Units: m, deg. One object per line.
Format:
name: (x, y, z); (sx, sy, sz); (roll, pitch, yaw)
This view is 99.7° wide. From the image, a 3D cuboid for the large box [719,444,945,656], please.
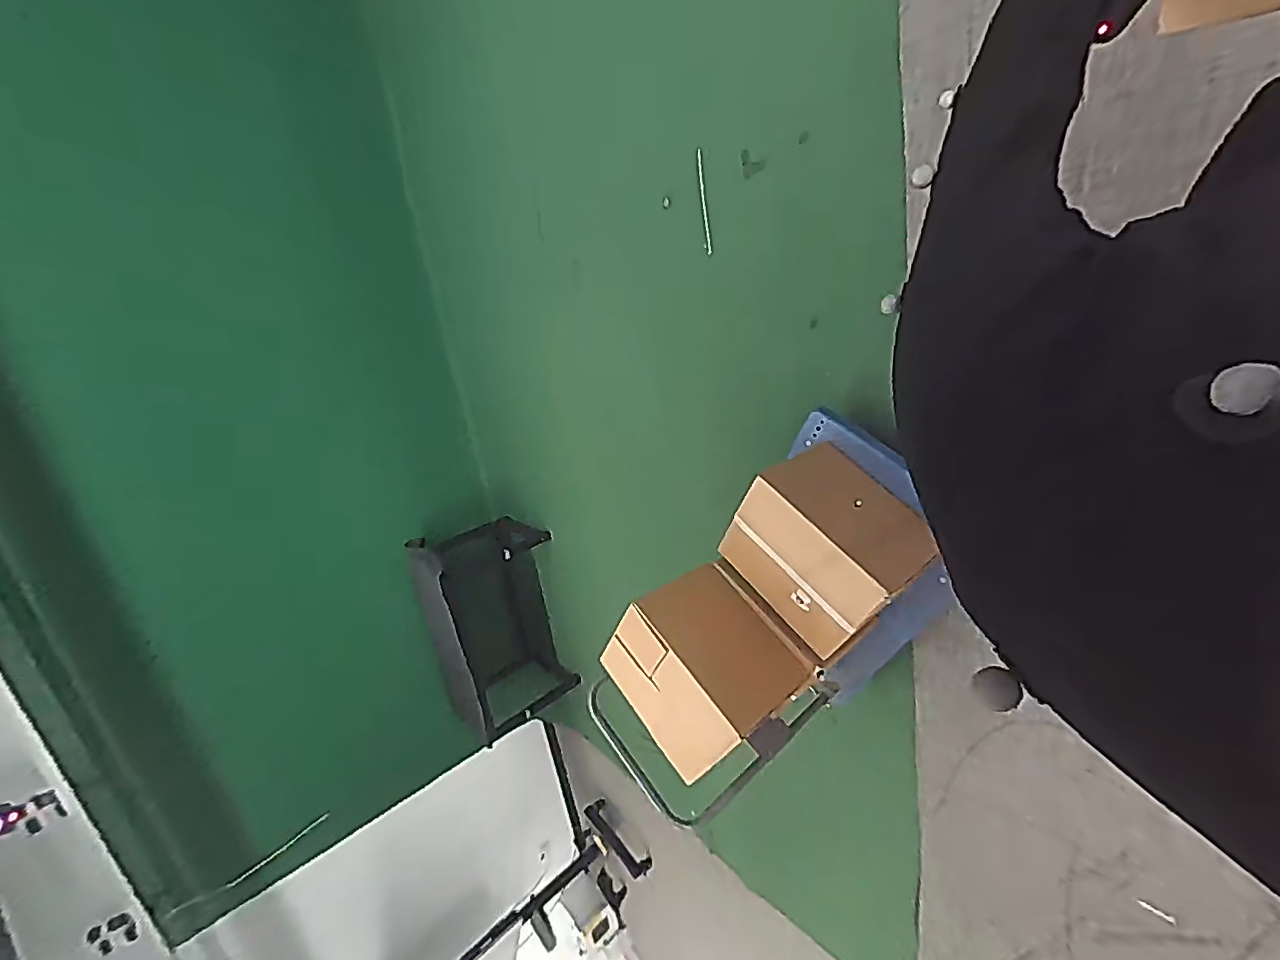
large box: (0.492, 0.167, 1.436); (0.408, 0.320, 0.320); (46, 140, 26)
